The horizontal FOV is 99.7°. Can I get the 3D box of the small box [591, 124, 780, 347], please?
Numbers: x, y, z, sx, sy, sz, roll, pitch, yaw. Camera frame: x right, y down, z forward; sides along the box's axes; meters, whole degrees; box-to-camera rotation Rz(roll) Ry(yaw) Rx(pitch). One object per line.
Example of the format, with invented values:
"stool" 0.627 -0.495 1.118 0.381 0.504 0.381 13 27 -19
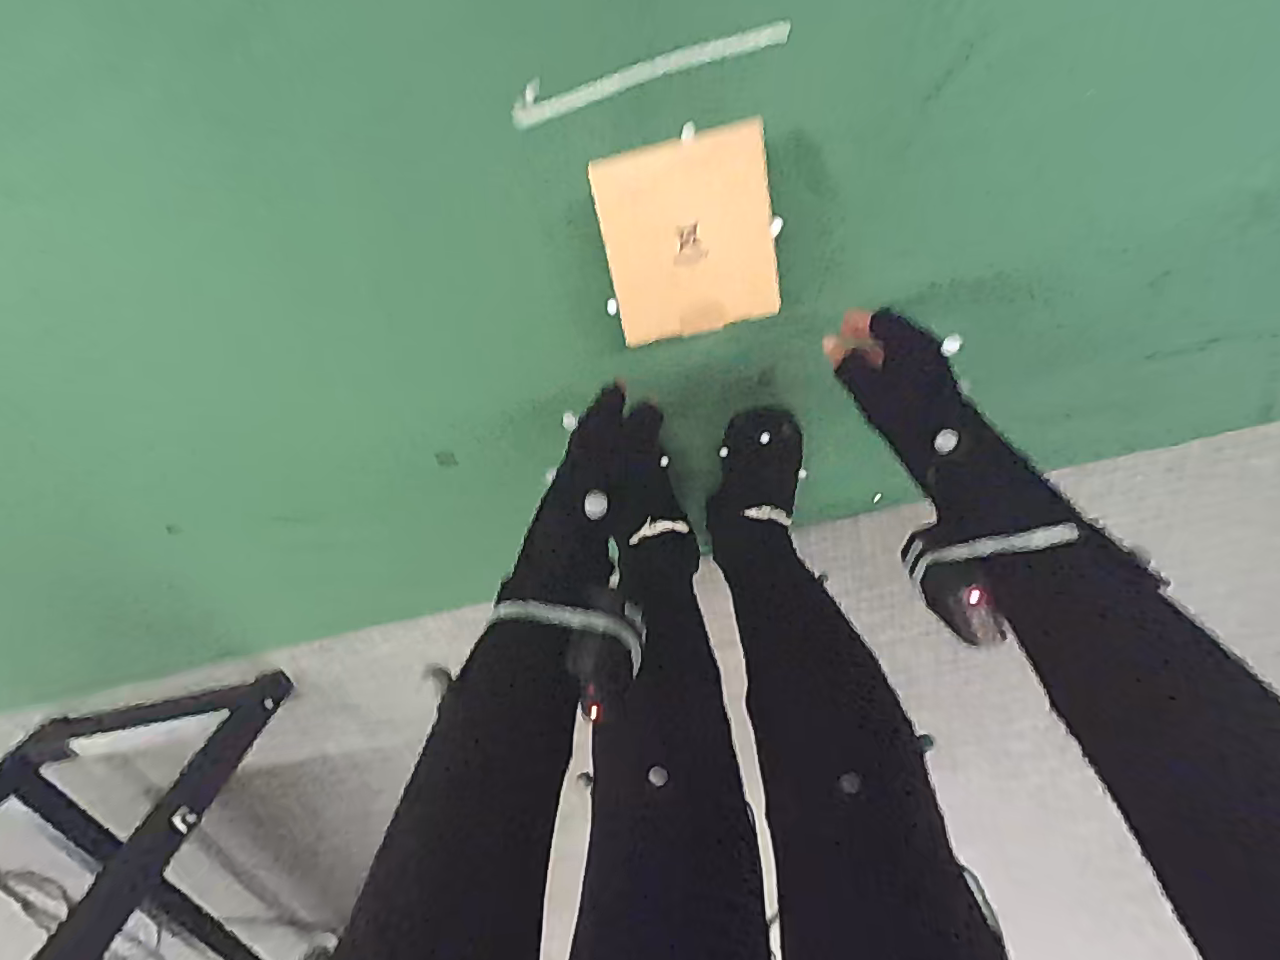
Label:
"small box" 0.050 -0.270 0.610 0.168 0.176 0.179 -12 117 7
